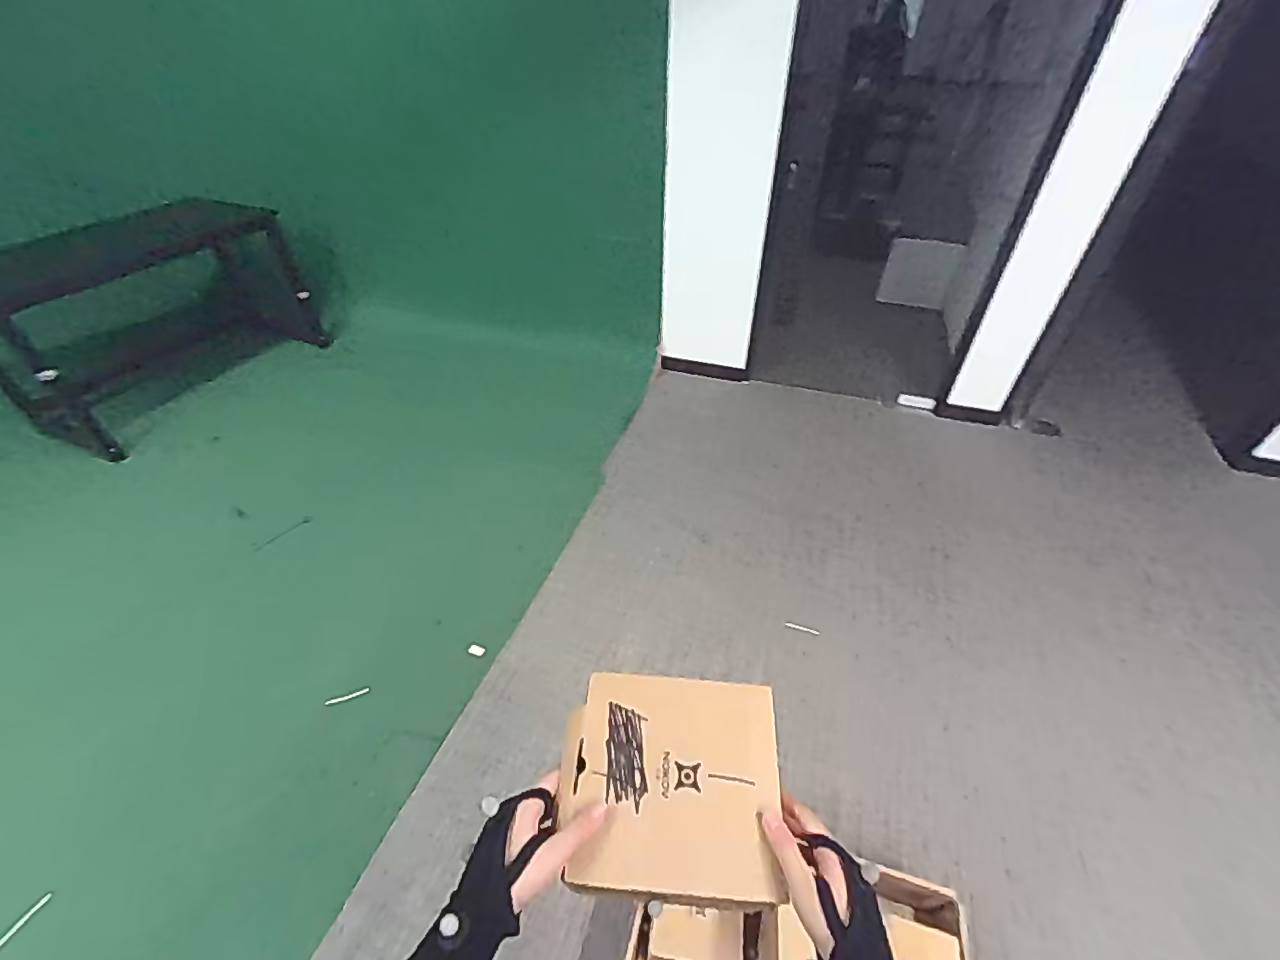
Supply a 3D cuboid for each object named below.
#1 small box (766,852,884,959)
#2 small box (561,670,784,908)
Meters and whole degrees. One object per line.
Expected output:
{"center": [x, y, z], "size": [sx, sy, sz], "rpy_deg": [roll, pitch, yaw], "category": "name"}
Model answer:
{"center": [0.317, 0.797, 0.954], "size": [0.168, 0.176, 0.179], "rpy_deg": [6, 42, 8], "category": "small box"}
{"center": [0.029, 0.303, 0.526], "size": [0.179, 0.176, 0.168], "rpy_deg": [4, 49, 2], "category": "small box"}
